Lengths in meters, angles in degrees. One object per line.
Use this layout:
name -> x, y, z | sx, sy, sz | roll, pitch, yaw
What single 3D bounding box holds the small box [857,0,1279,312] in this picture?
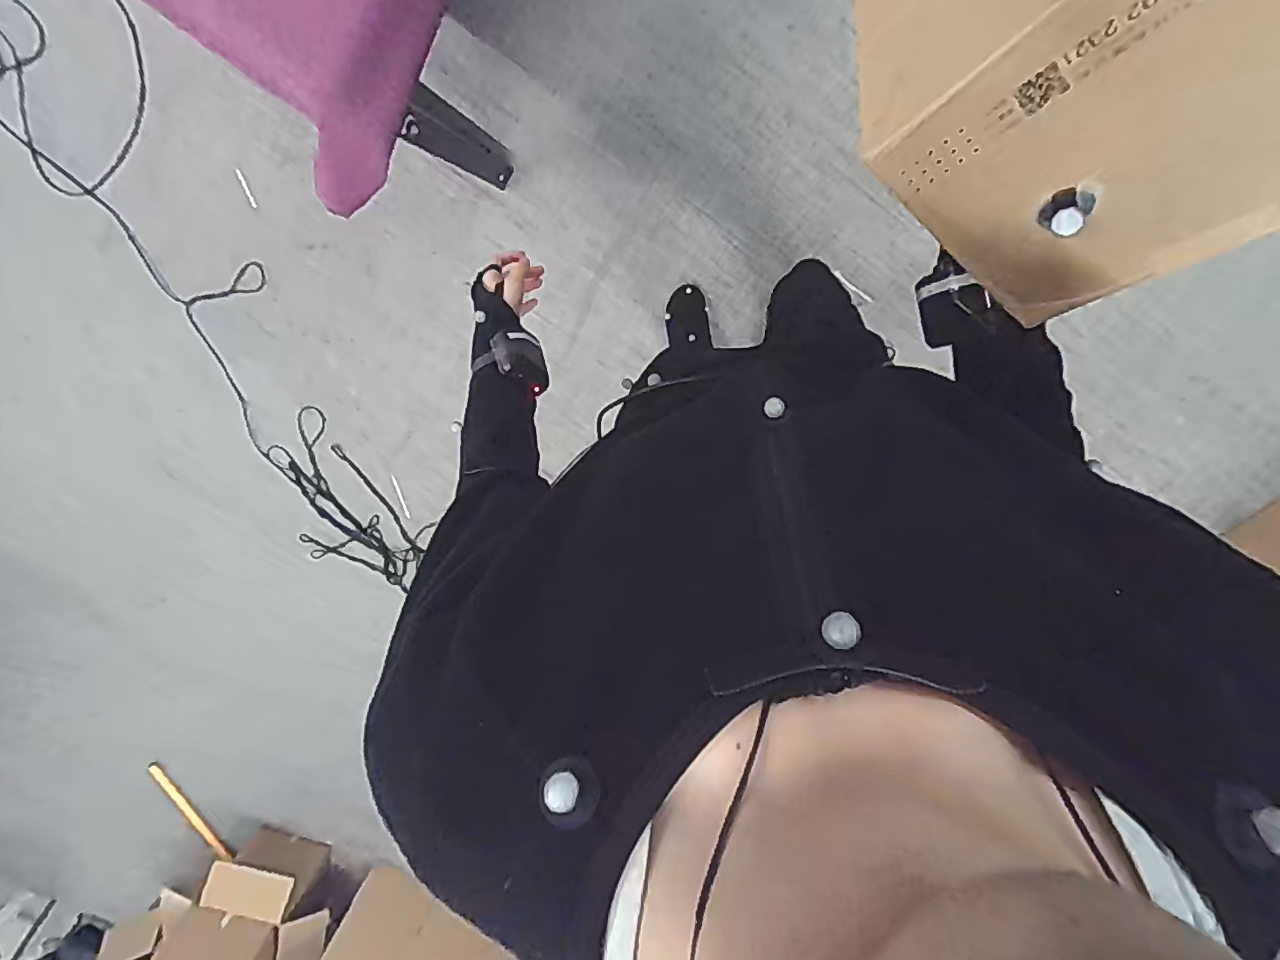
small box -> 0.220, -0.222, 0.250 | 0.176, 0.179, 0.168 | 24, 151, -29
